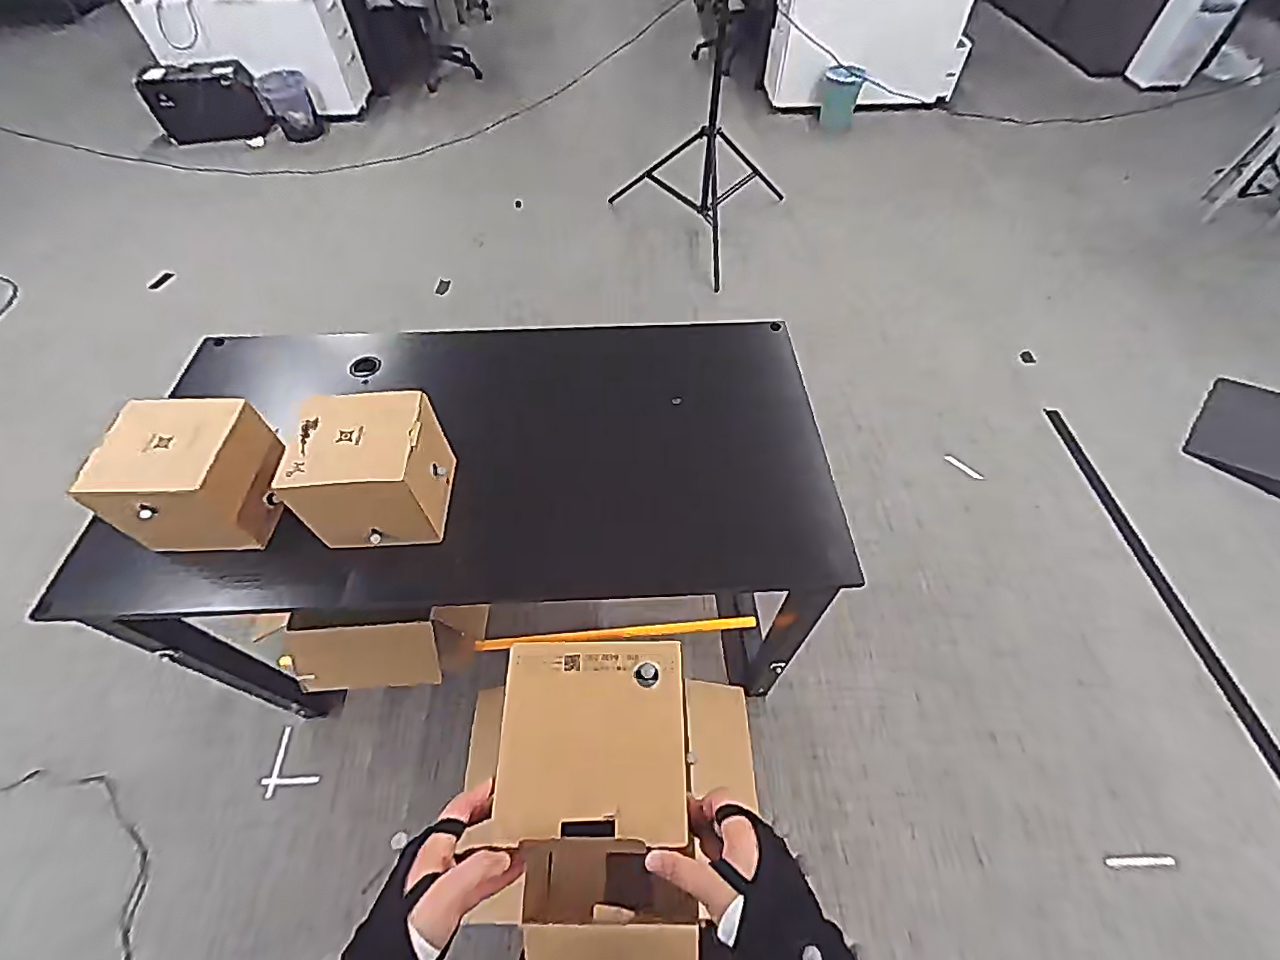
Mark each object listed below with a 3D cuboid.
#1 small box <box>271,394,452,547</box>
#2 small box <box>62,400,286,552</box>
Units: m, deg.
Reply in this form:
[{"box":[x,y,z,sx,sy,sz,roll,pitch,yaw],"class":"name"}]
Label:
[{"box":[-0.397,-0.011,0.812,0.179,0.176,0.168,-3,54,-3],"class":"small box"},{"box":[-0.660,-0.002,0.806,0.179,0.176,0.168,0,55,-1],"class":"small box"}]
